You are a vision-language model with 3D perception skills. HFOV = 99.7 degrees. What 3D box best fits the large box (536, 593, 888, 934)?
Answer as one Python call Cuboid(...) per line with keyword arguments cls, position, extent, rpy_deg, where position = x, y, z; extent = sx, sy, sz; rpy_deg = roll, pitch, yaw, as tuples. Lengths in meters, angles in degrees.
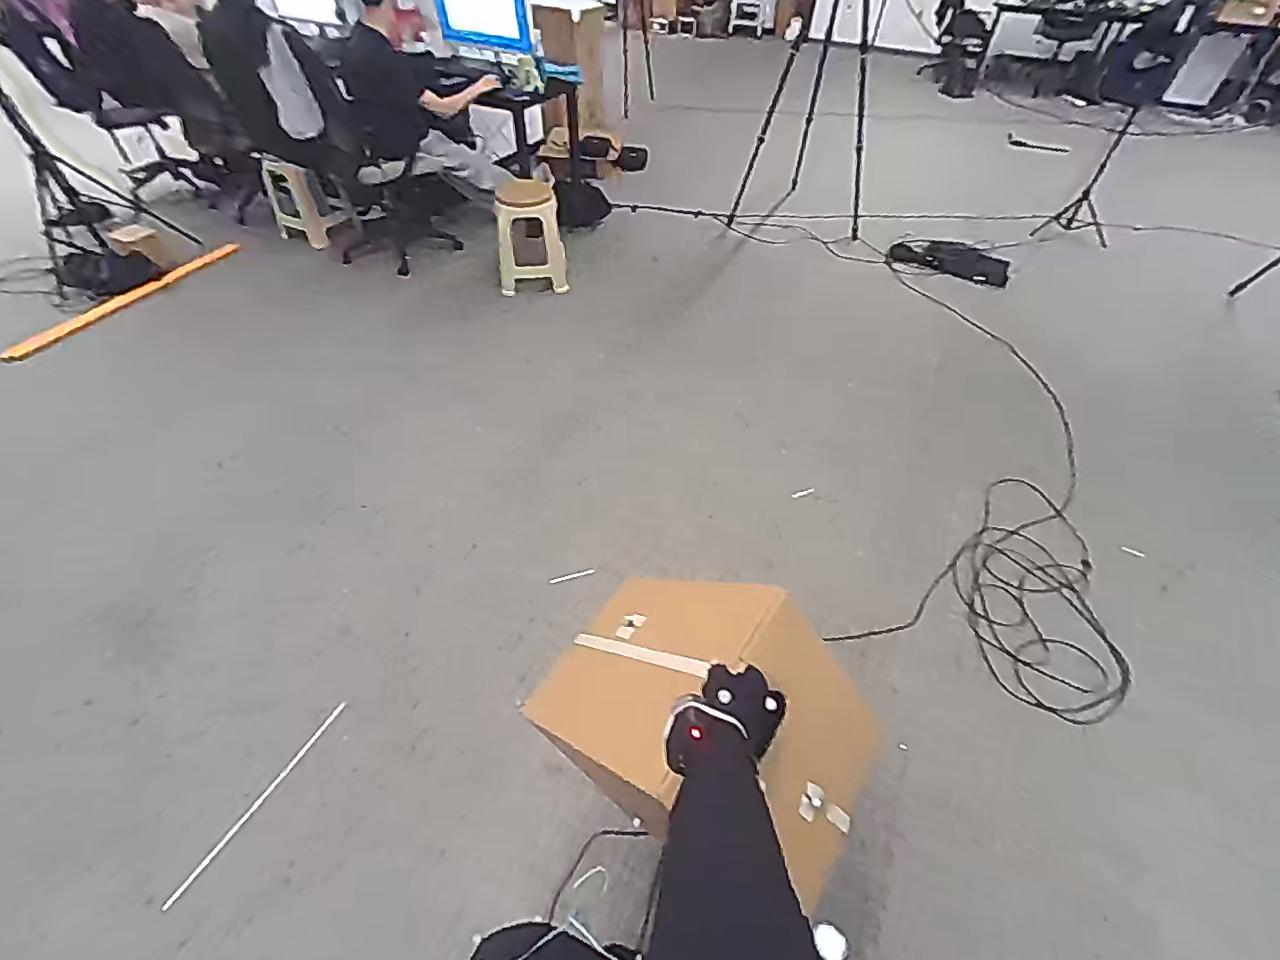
Cuboid(cls="large box", position=(0.107, 0.406, 0.882), extent=(0.320, 0.408, 0.320), rpy_deg=(-46, 107, -30))
